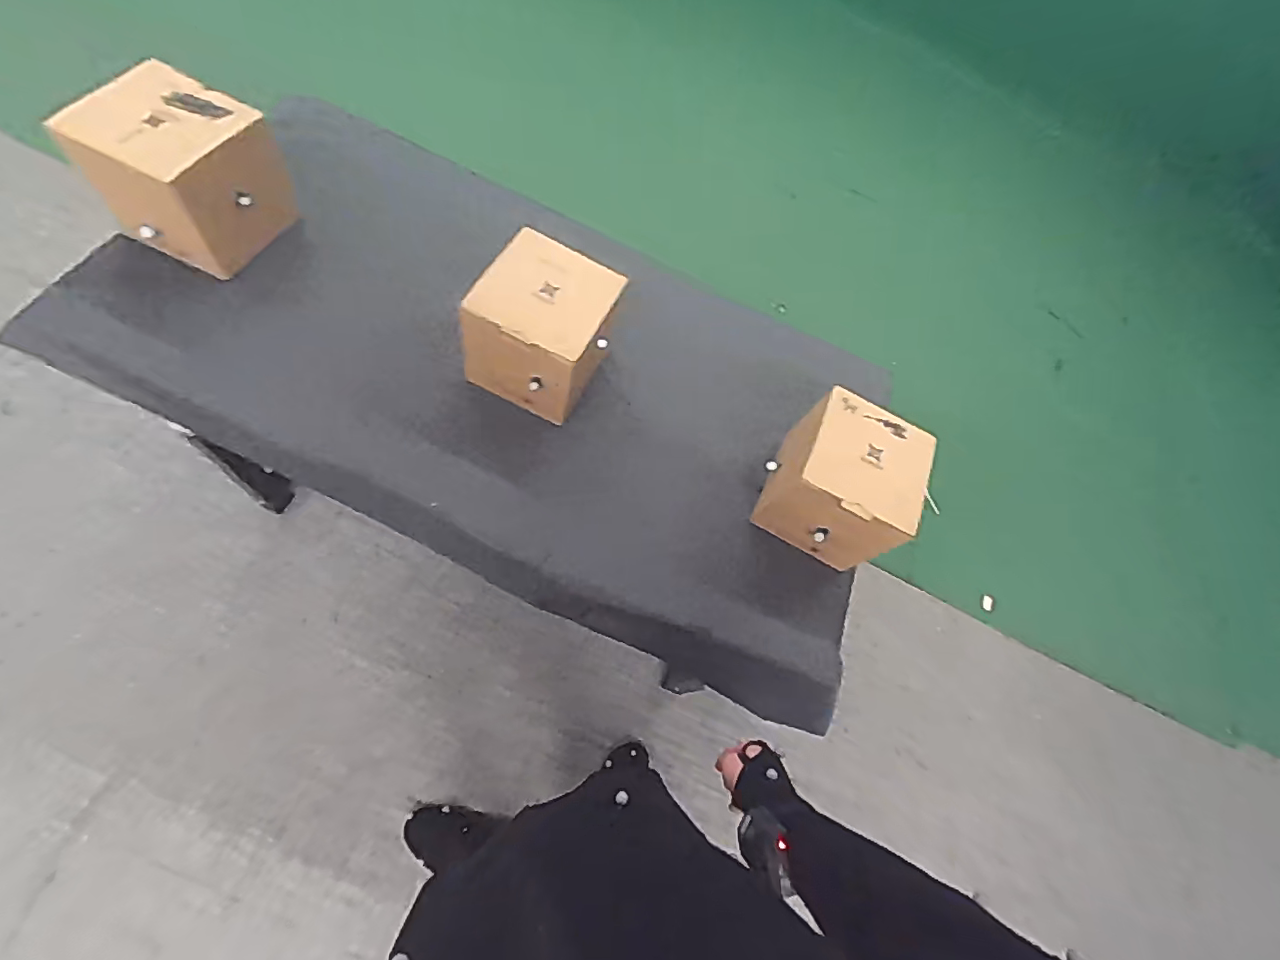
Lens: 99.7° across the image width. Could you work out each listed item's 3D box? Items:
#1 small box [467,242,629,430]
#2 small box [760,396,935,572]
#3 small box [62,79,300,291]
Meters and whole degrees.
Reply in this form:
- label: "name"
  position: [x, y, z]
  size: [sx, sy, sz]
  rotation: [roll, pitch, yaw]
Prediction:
- label: "small box"
  position: [-0.137, -0.205, 0.806]
  size: [0.168, 0.176, 0.179]
  rotation: [27, 61, -2]
- label: "small box"
  position: [0.300, 0.016, 0.811]
  size: [0.168, 0.176, 0.179]
  rotation: [28, 63, 0]
- label: "small box"
  position: [-0.625, -0.413, 0.773]
  size: [0.168, 0.176, 0.179]
  rotation: [25, 62, -2]
